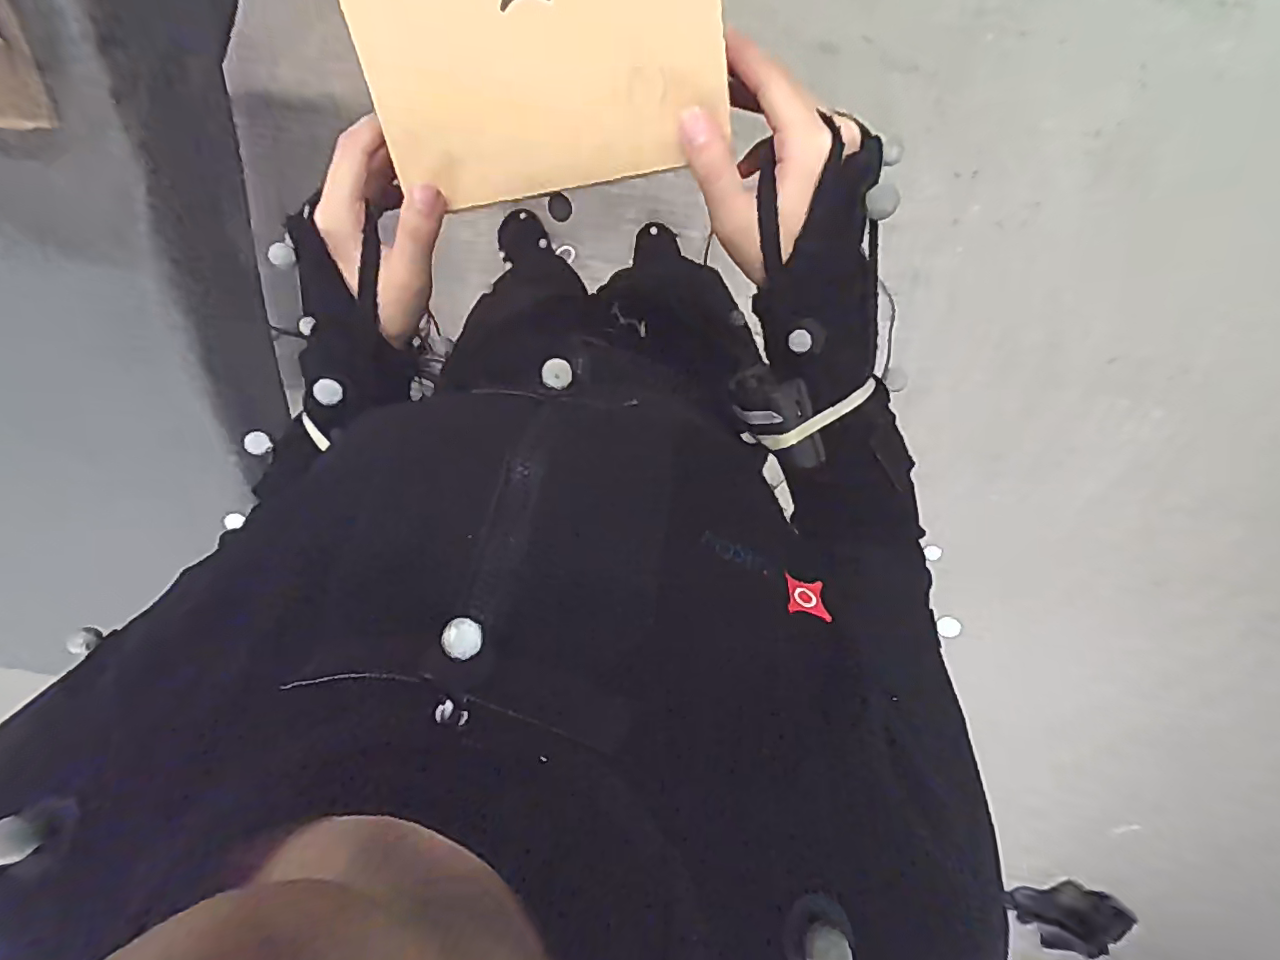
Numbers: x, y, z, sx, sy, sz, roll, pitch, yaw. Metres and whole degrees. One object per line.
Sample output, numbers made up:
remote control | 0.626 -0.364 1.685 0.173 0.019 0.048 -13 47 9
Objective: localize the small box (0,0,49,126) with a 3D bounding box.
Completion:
small box | -0.633 -0.363 0.400 0.179 0.176 0.168 1 120 5

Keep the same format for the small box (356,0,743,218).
small box | -0.035 -0.255 0.291 0.168 0.176 0.179 -6 119 9
